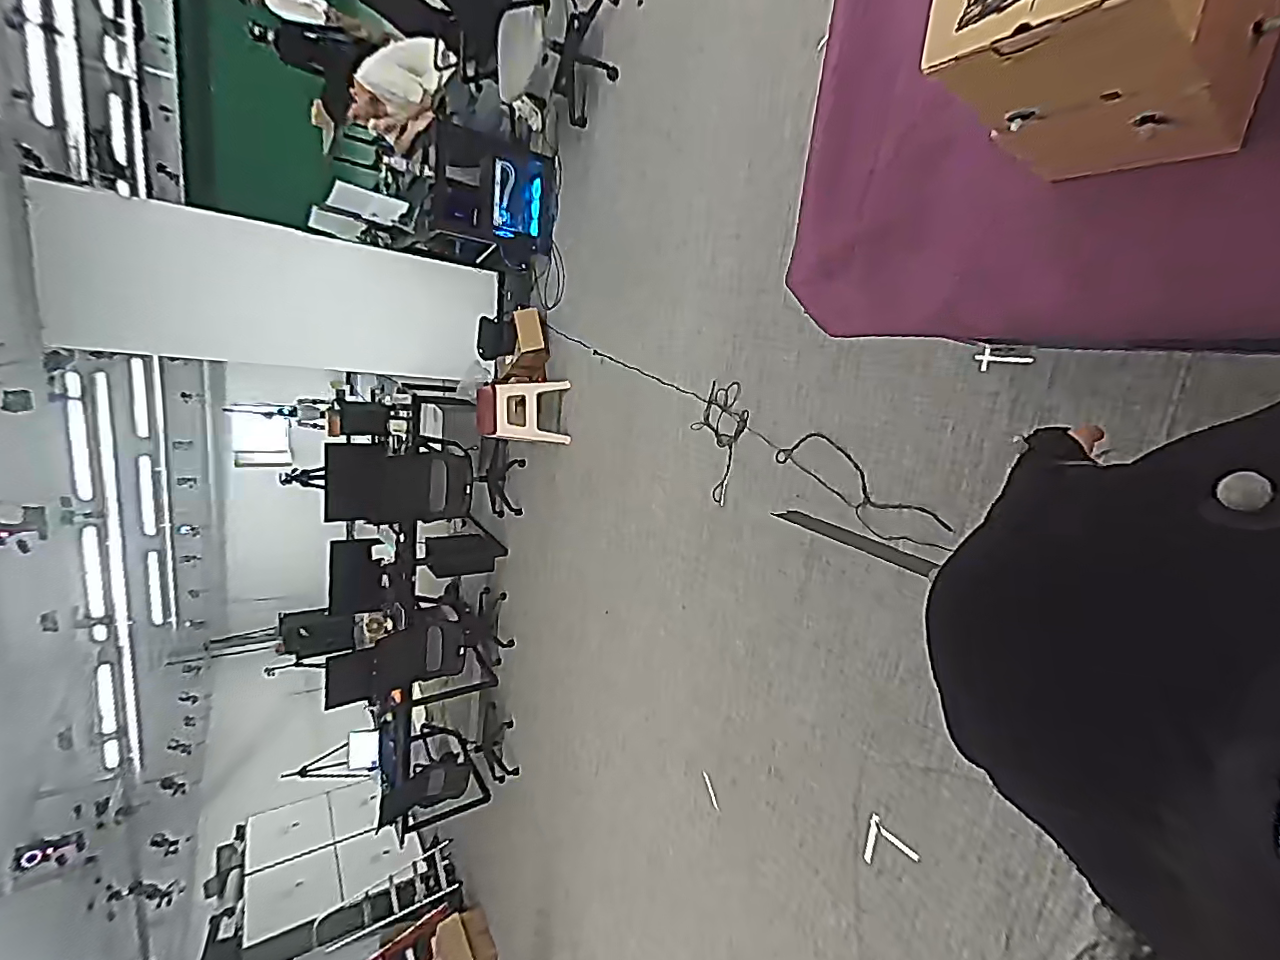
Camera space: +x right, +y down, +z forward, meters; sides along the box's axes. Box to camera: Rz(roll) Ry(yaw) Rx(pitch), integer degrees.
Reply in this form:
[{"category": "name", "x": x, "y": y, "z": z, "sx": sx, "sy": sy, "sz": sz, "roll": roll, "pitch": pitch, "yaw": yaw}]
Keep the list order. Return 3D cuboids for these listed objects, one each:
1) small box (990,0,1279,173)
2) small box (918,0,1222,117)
[{"category": "small box", "x": 0.507, "y": -0.439, "z": 0.553, "sx": 0.179, "sy": 0.176, "sz": 0.168, "roll": 25, "pitch": 111, "yaw": 52}, {"category": "small box", "x": 0.373, "y": -0.441, "z": 0.458, "sx": 0.168, "sy": 0.176, "sz": 0.179, "roll": 22, "pitch": 109, "yaw": 52}]
